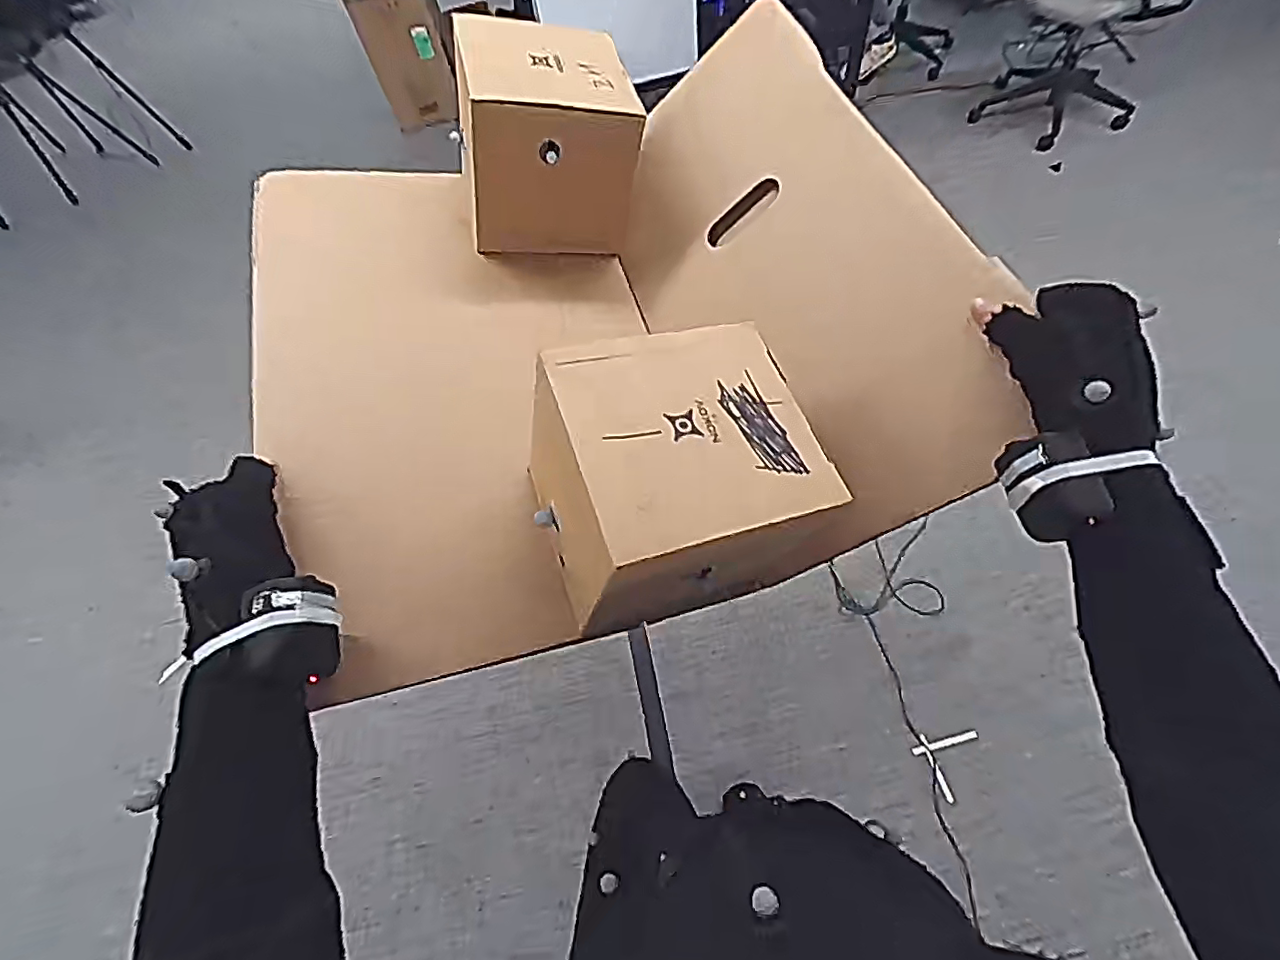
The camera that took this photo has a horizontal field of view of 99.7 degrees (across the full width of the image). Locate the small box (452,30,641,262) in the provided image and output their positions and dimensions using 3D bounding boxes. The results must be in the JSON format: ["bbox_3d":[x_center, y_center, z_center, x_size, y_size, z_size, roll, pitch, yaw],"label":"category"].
[{"bbox_3d":[-0.115,-0.376,0.629,0.179,0.176,0.168,-6,62,-18],"label":"small box"}]
